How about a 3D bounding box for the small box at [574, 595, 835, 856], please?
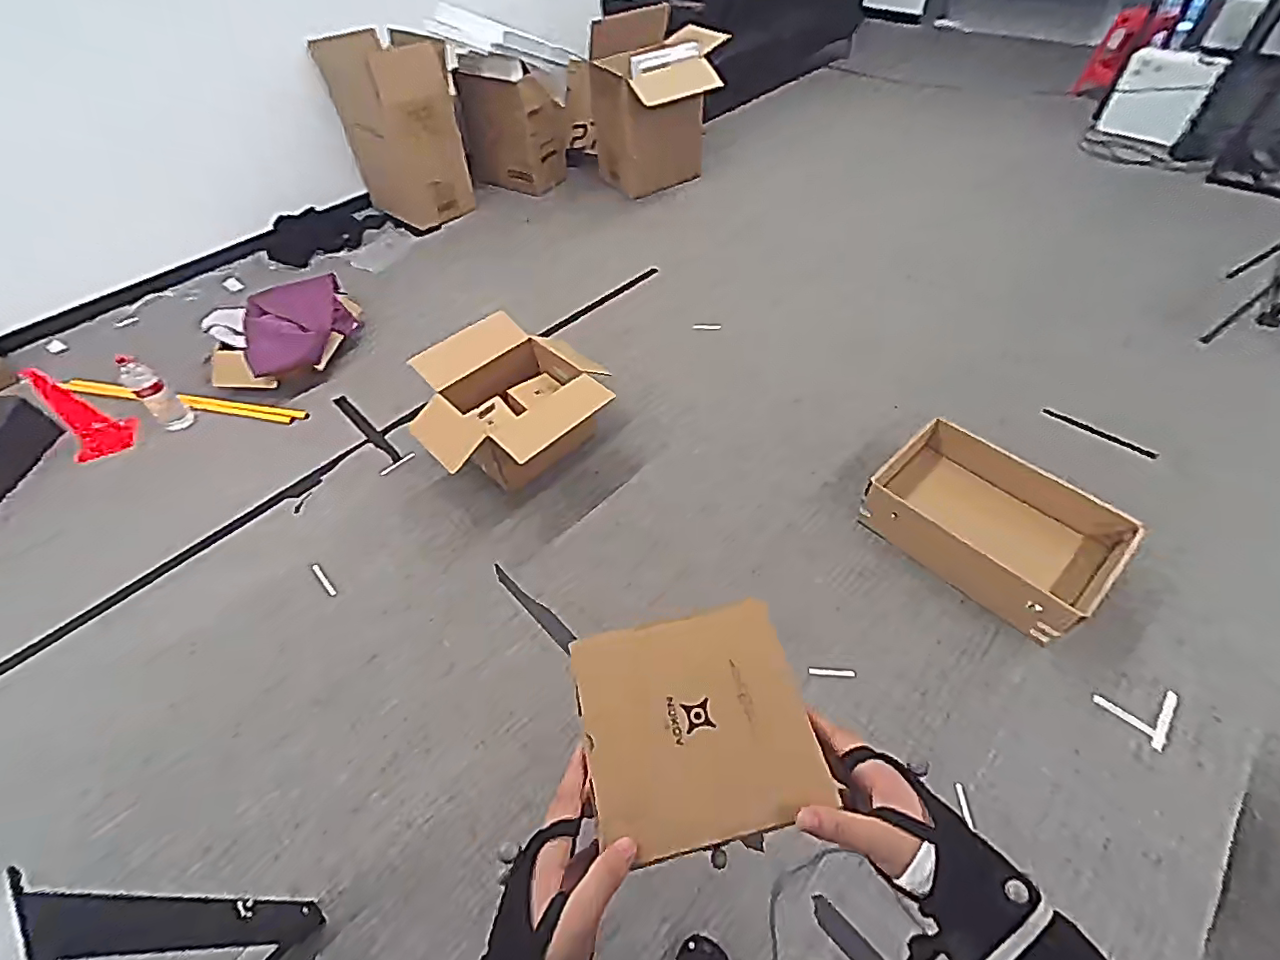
[{"bbox_3d":[0.047,0.230,0.498,0.179,0.176,0.168,-11,56,-7],"label":"small box"}]
